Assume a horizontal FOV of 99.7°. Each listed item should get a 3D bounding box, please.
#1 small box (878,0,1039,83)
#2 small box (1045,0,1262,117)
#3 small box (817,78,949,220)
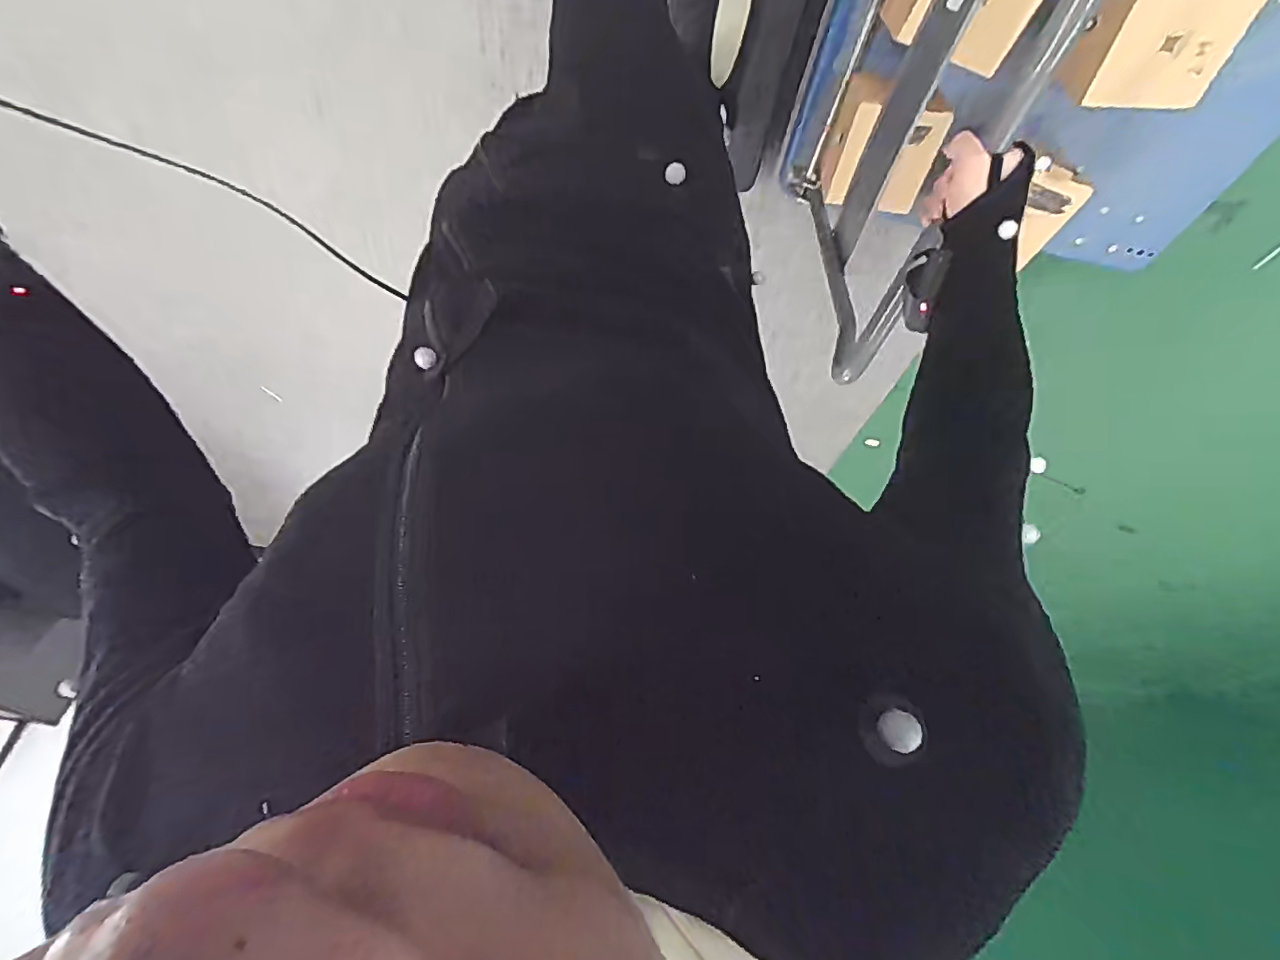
[{"bbox_3d":[0.505,-0.773,0.850,0.179,0.176,0.168,15,142,-8],"label":"small box"},{"bbox_3d":[0.804,-0.712,0.869,0.179,0.176,0.168,5,143,4],"label":"small box"},{"bbox_3d":[0.448,-0.635,1.033,0.168,0.176,0.179,9,143,0],"label":"small box"}]
